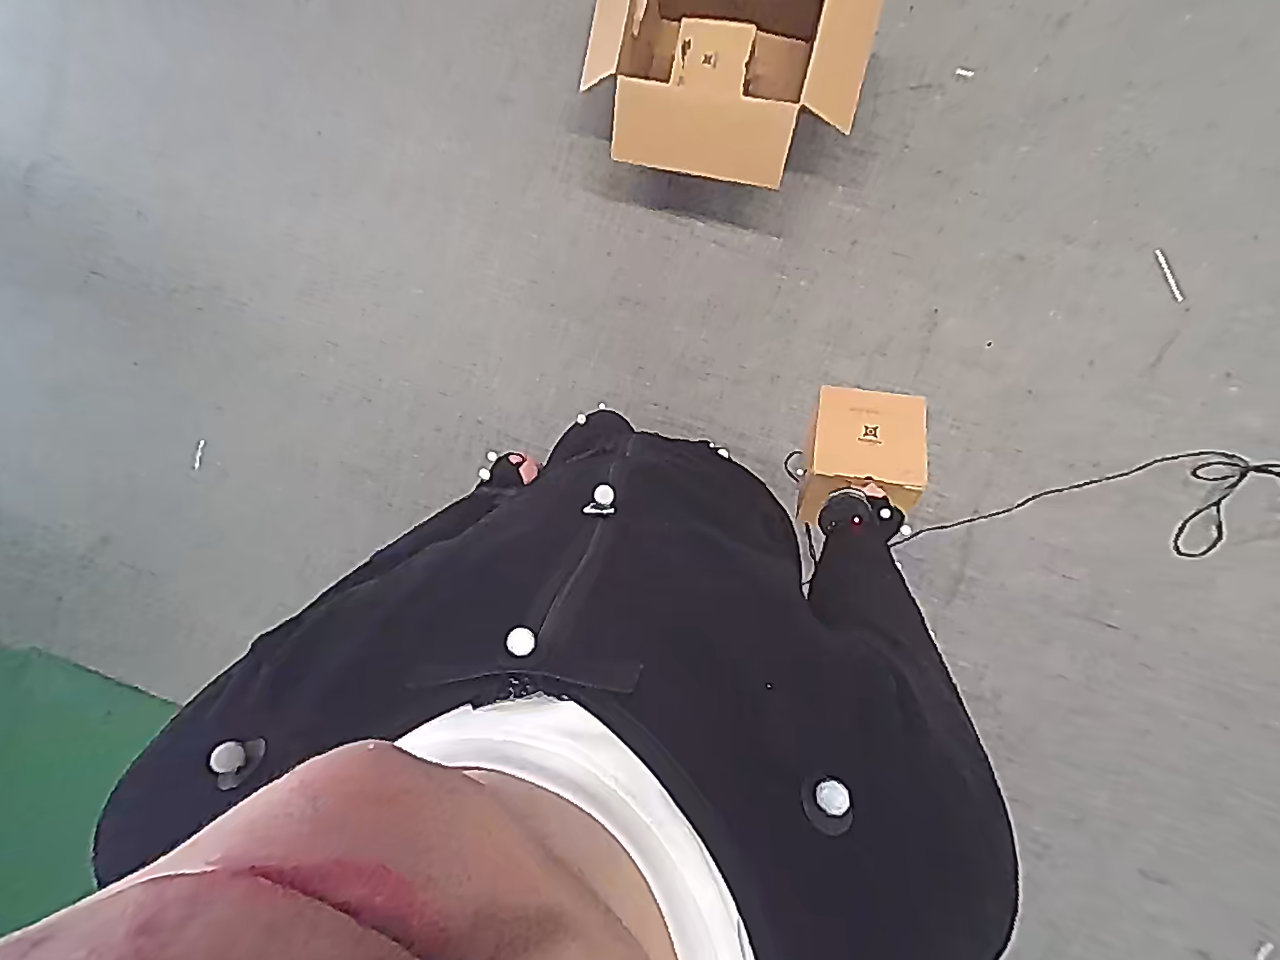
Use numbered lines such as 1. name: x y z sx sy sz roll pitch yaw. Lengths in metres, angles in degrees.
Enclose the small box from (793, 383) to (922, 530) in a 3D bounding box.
1. small box: 0.358 -0.034 0.909 0.168 0.176 0.179 10 59 10
